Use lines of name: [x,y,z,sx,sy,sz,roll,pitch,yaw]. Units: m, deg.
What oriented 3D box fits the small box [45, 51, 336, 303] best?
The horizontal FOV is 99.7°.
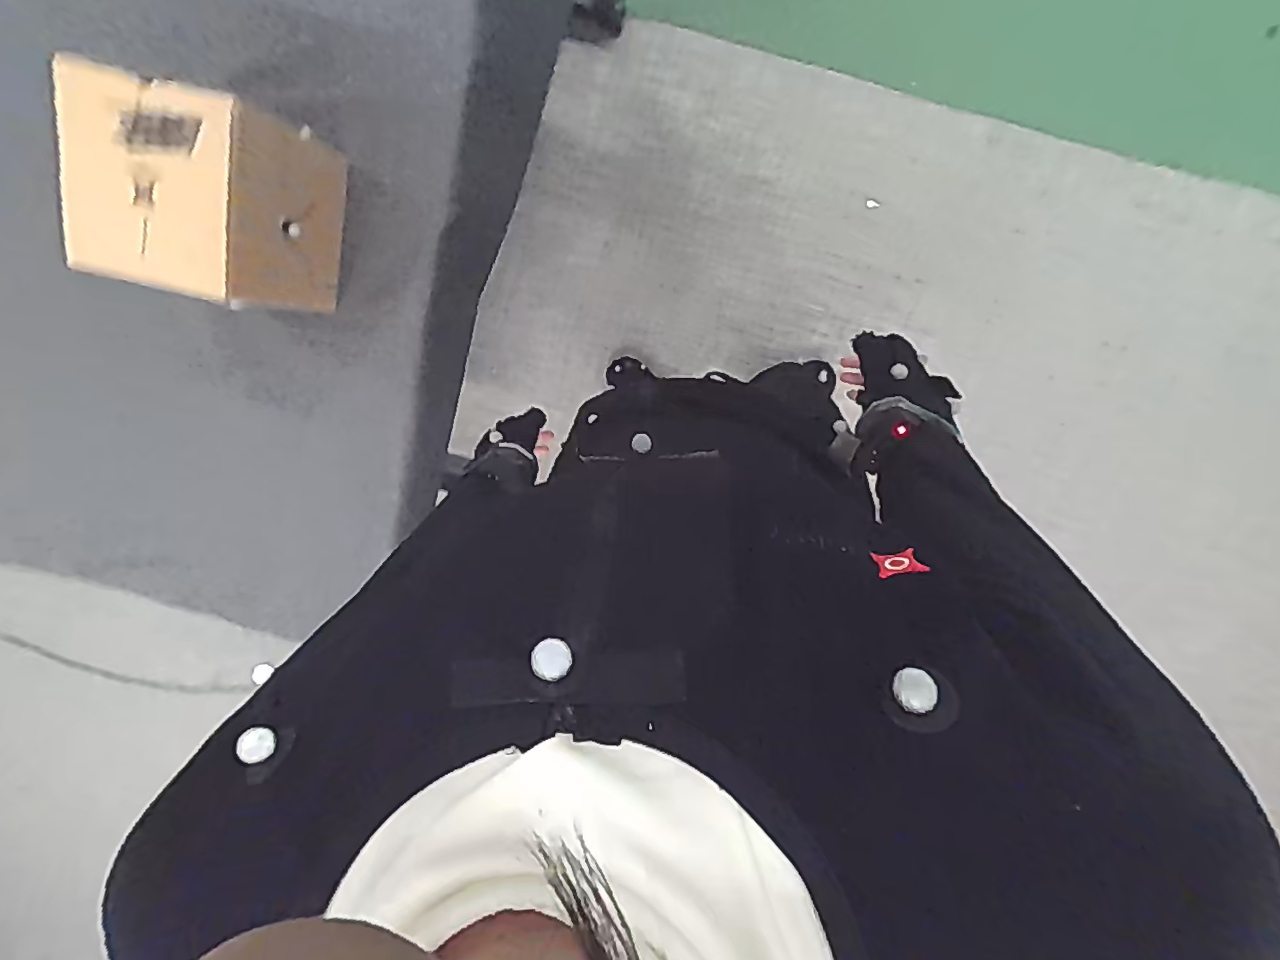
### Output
small box: [-0.445,-0.294,0.565,0.168,0.176,0.179,11,104,2]
